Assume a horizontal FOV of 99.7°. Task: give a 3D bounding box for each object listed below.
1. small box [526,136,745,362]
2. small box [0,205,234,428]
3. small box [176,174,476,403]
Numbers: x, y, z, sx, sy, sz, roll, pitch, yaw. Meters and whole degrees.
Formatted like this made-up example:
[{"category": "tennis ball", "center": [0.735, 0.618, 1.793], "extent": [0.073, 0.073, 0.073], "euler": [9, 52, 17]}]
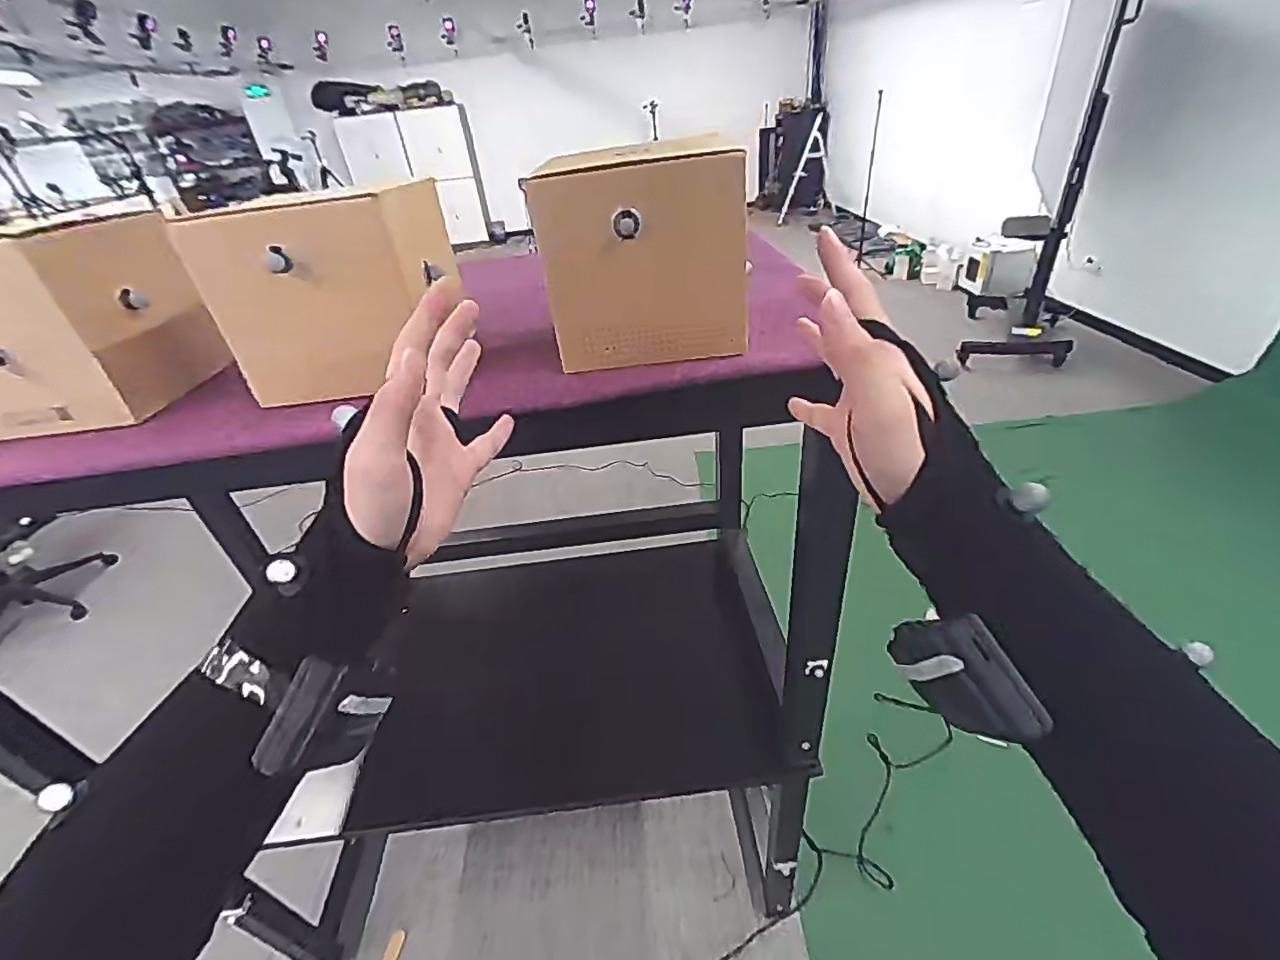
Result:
[{"category": "small box", "center": [0.005, -0.225, 0.532], "extent": [0.179, 0.176, 0.168], "euler": [-5, 36, 4]}, {"category": "small box", "center": [-0.561, -0.160, 0.539], "extent": [0.168, 0.176, 0.179], "euler": [-7, 34, -1]}, {"category": "small box", "center": [-0.281, -0.193, 0.539], "extent": [0.179, 0.176, 0.168], "euler": [-8, 33, 1]}]
